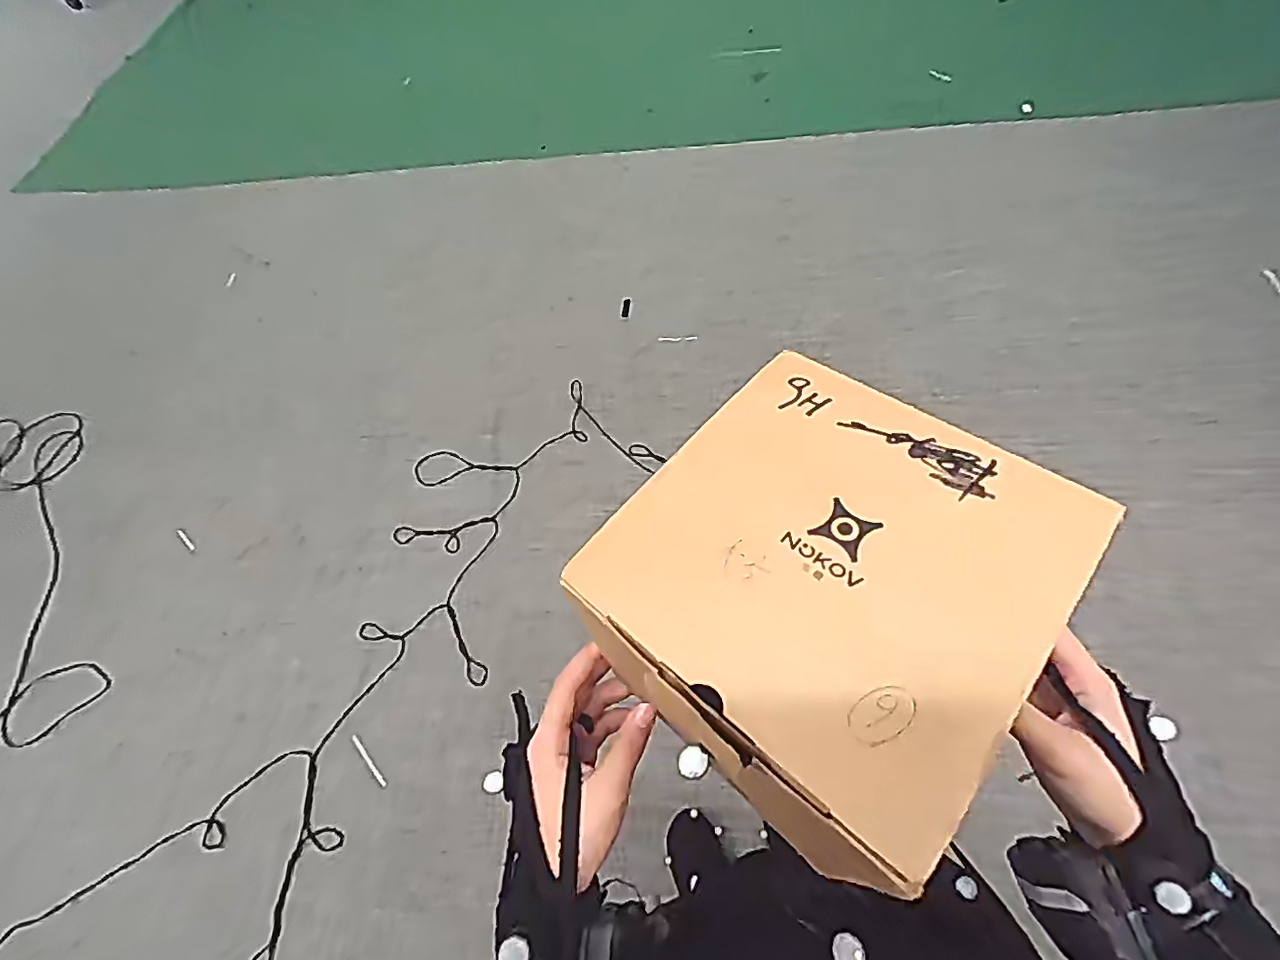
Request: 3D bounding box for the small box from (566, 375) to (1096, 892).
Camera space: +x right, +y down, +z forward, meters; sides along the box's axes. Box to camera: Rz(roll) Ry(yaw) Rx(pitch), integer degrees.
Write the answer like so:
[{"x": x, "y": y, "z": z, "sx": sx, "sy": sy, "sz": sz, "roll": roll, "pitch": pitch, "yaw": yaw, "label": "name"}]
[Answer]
[{"x": 0.091, "y": 0.082, "z": 0.304, "sx": 0.168, "sy": 0.176, "sz": 0.179, "roll": 35, "pitch": 67, "yaw": 27, "label": "small box"}]
